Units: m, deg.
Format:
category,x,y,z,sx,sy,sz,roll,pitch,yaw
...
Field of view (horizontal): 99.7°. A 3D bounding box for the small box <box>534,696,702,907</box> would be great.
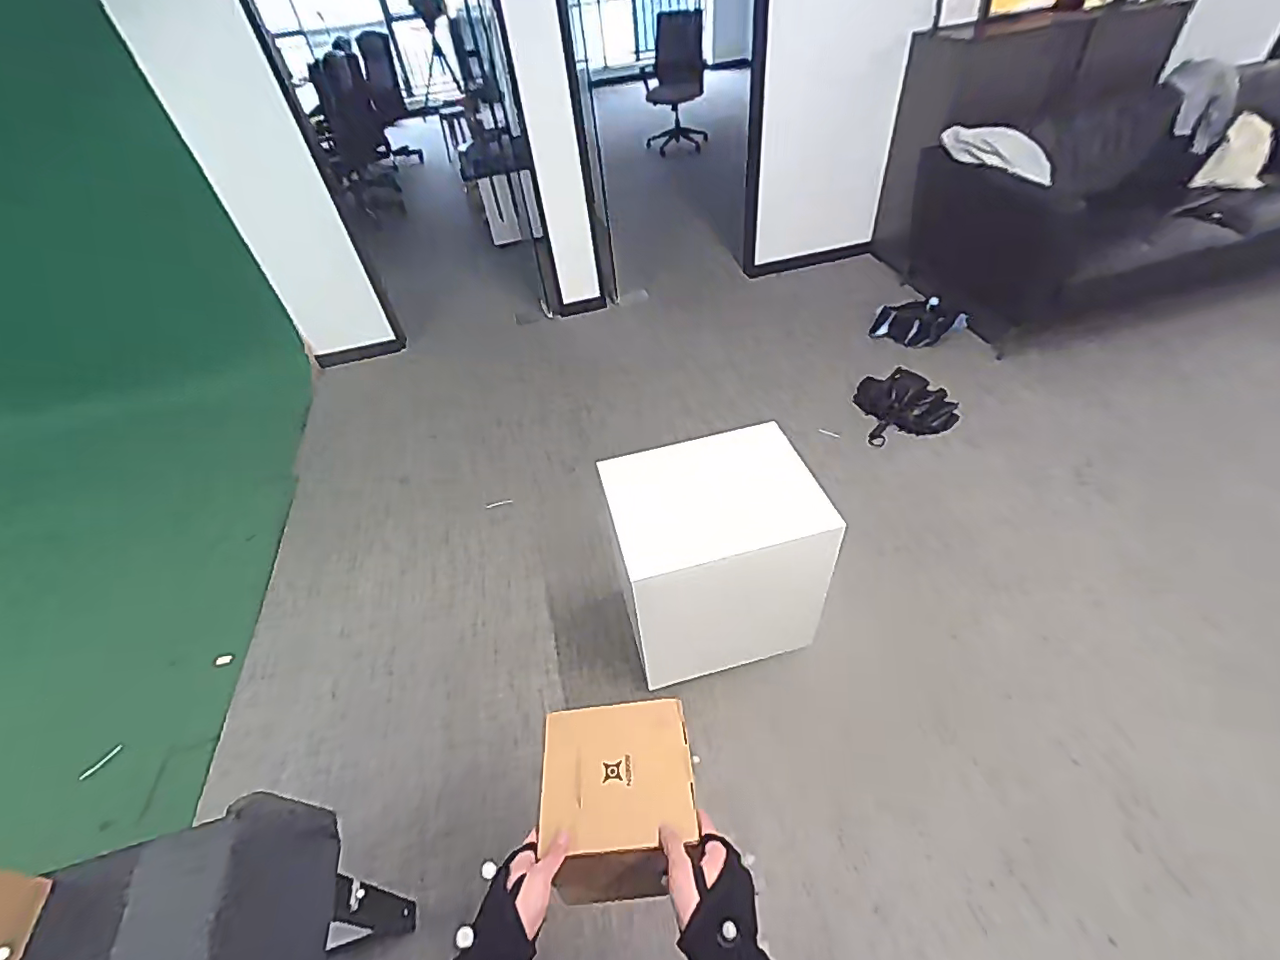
category,x,y,z,sx,sy,sz,roll,pitch,yaw
small box,-0.023,0.394,0.665,0.179,0.176,0.168,-7,37,-1
